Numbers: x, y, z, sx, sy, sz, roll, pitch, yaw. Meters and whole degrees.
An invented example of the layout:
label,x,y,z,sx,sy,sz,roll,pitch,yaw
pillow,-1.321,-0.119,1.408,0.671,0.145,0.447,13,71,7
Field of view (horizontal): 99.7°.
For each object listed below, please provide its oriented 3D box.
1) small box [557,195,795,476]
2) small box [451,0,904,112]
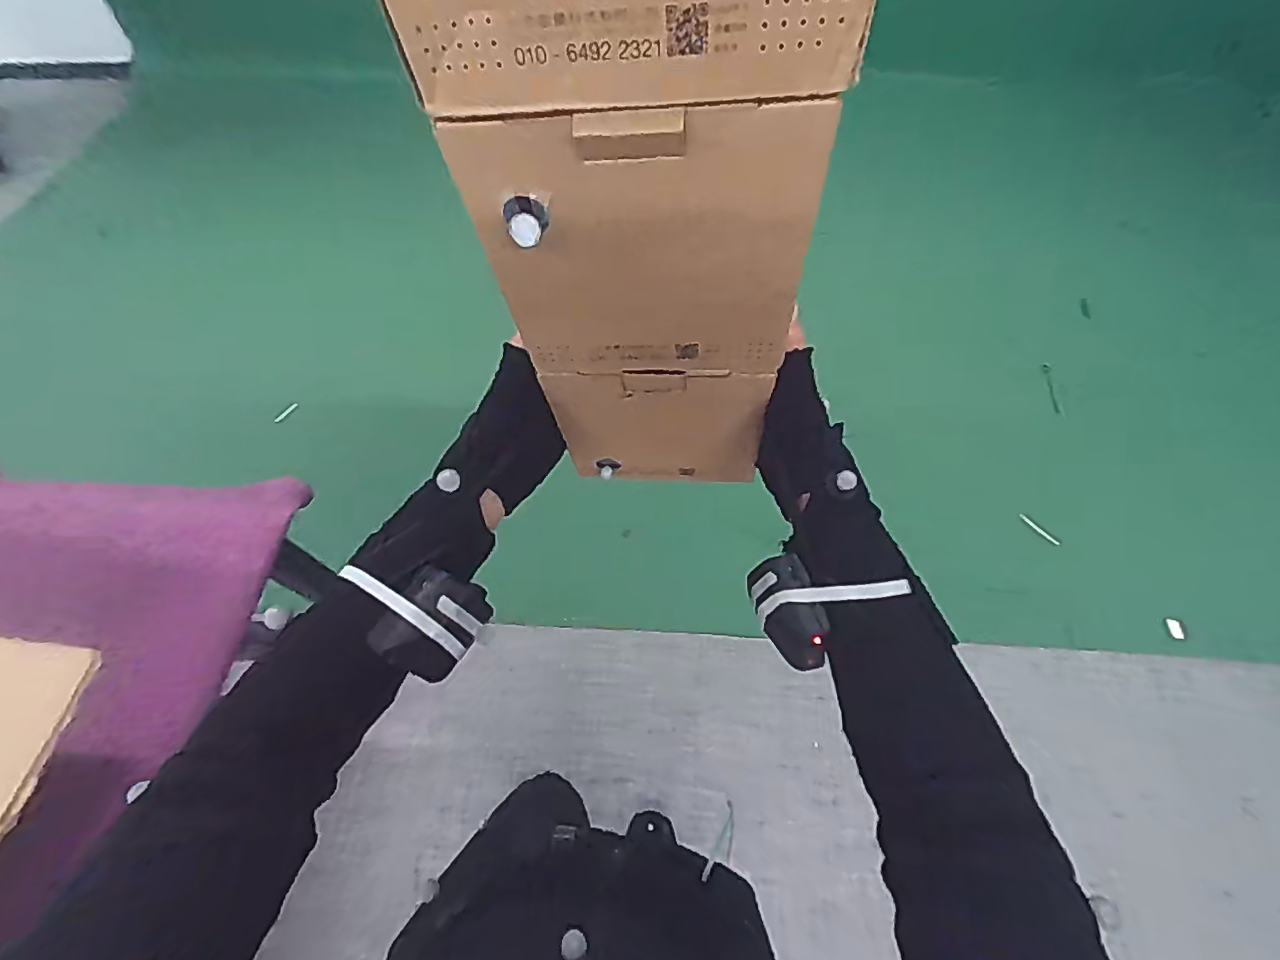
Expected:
label,x,y,z,sx,sy,sz,roll,pitch,yaw
small box,0.034,-0.110,0.470,0.168,0.176,0.179,-1,66,5
small box,0.010,-0.258,0.178,0.168,0.176,0.179,0,65,5
